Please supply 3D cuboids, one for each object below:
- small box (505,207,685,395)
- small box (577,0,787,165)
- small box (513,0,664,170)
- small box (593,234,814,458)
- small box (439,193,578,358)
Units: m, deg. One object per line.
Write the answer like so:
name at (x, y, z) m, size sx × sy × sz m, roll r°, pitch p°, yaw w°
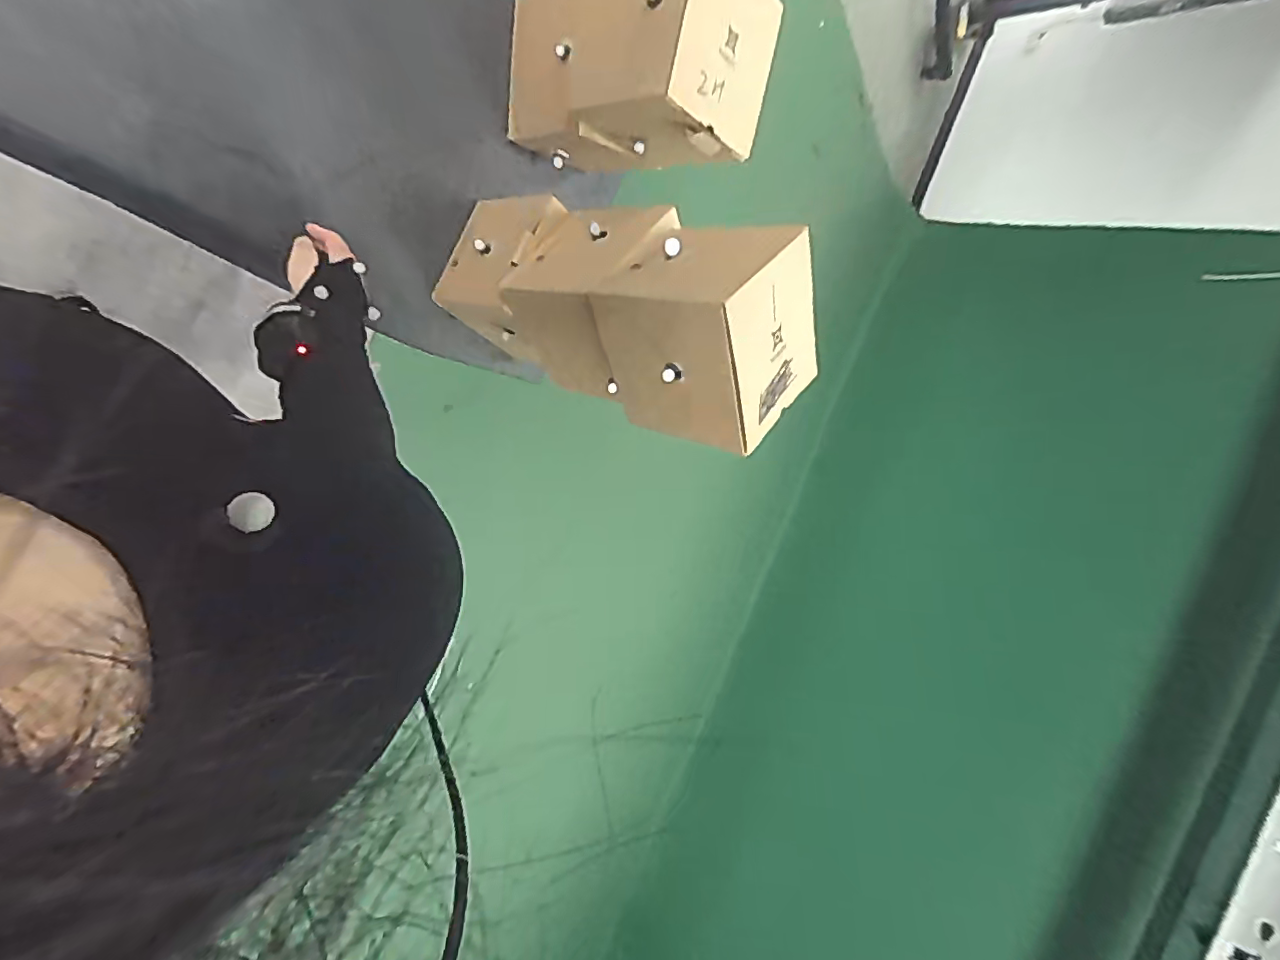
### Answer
small box at (-0.039, -0.223, 0.698) m, size 0.168 × 0.176 × 0.179 m, roll -53°, pitch 141°, yaw -22°
small box at (0.045, -0.508, 0.654) m, size 0.168 × 0.176 × 0.179 m, roll -1°, pitch 110°, yaw -48°
small box at (-0.064, -0.559, 0.768) m, size 0.168 × 0.176 × 0.179 m, roll -11°, pitch 118°, yaw -45°
small box at (0.076, -0.156, 0.598) m, size 0.168 × 0.176 × 0.179 m, roll -46°, pitch 137°, yaw -30°
small box at (-0.158, -0.285, 0.793) m, size 0.179 × 0.176 × 0.168 m, roll 31°, pitch 81°, yaw -52°
